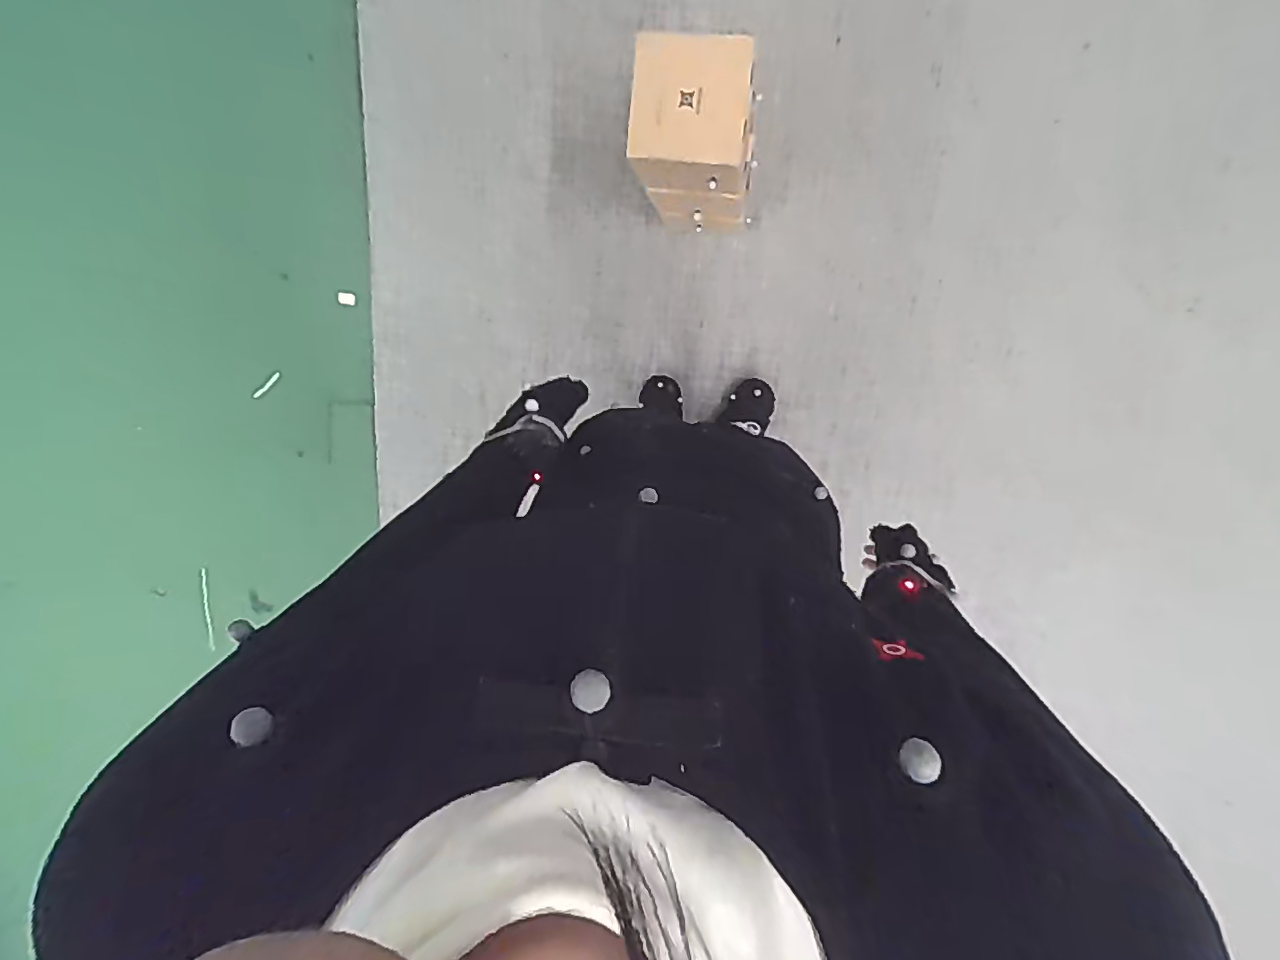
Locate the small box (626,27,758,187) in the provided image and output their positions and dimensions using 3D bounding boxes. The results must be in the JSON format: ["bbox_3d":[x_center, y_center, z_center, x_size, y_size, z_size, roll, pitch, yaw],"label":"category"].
[{"bbox_3d":[0.087,-0.582,0.866,0.179,0.176,0.168,9,105,9],"label":"small box"}]

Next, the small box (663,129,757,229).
[{"bbox_3d":[0.153,-0.653,1.177,0.179,0.176,0.168,7,106,8],"label":"small box"}]

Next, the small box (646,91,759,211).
[{"bbox_3d":[0.119,-0.619,1.021,0.179,0.176,0.168,10,107,8],"label":"small box"}]
